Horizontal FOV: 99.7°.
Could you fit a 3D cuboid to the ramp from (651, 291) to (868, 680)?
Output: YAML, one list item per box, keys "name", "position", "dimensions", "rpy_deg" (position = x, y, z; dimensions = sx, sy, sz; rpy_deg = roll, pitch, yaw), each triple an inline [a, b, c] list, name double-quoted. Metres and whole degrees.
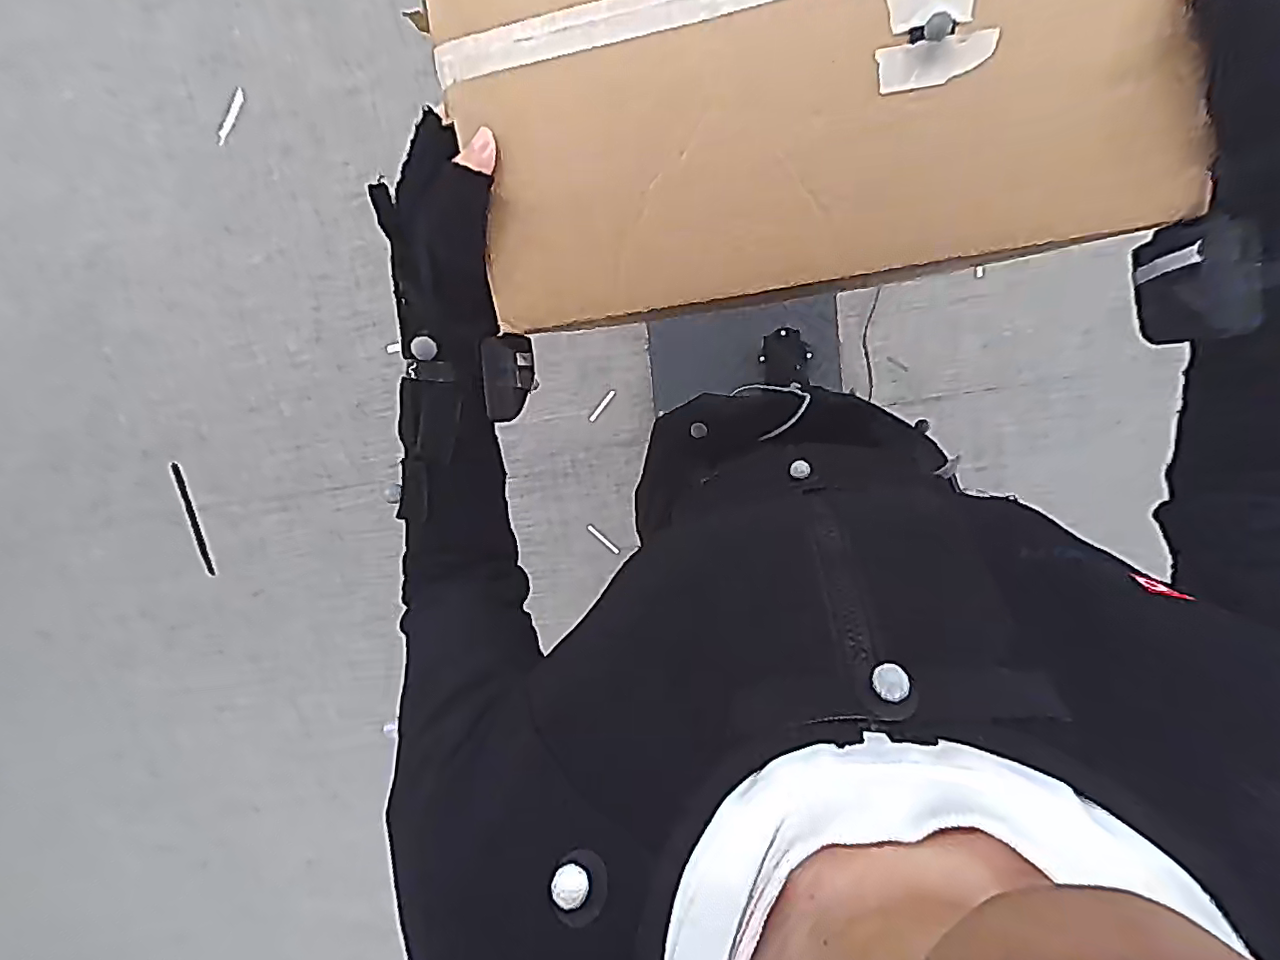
- name: "ramp"
  position: [0.305, 0.030, 1.434]
  dimensions: [0.509, 0.206, 0.991]
  rpy_deg: [-6, 100, 11]

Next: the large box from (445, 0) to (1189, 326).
- name: "large box"
  position: [0.100, -0.319, 0.443]
  dimensions: [0.408, 0.320, 0.320]
  rpy_deg: [-7, 105, 10]
